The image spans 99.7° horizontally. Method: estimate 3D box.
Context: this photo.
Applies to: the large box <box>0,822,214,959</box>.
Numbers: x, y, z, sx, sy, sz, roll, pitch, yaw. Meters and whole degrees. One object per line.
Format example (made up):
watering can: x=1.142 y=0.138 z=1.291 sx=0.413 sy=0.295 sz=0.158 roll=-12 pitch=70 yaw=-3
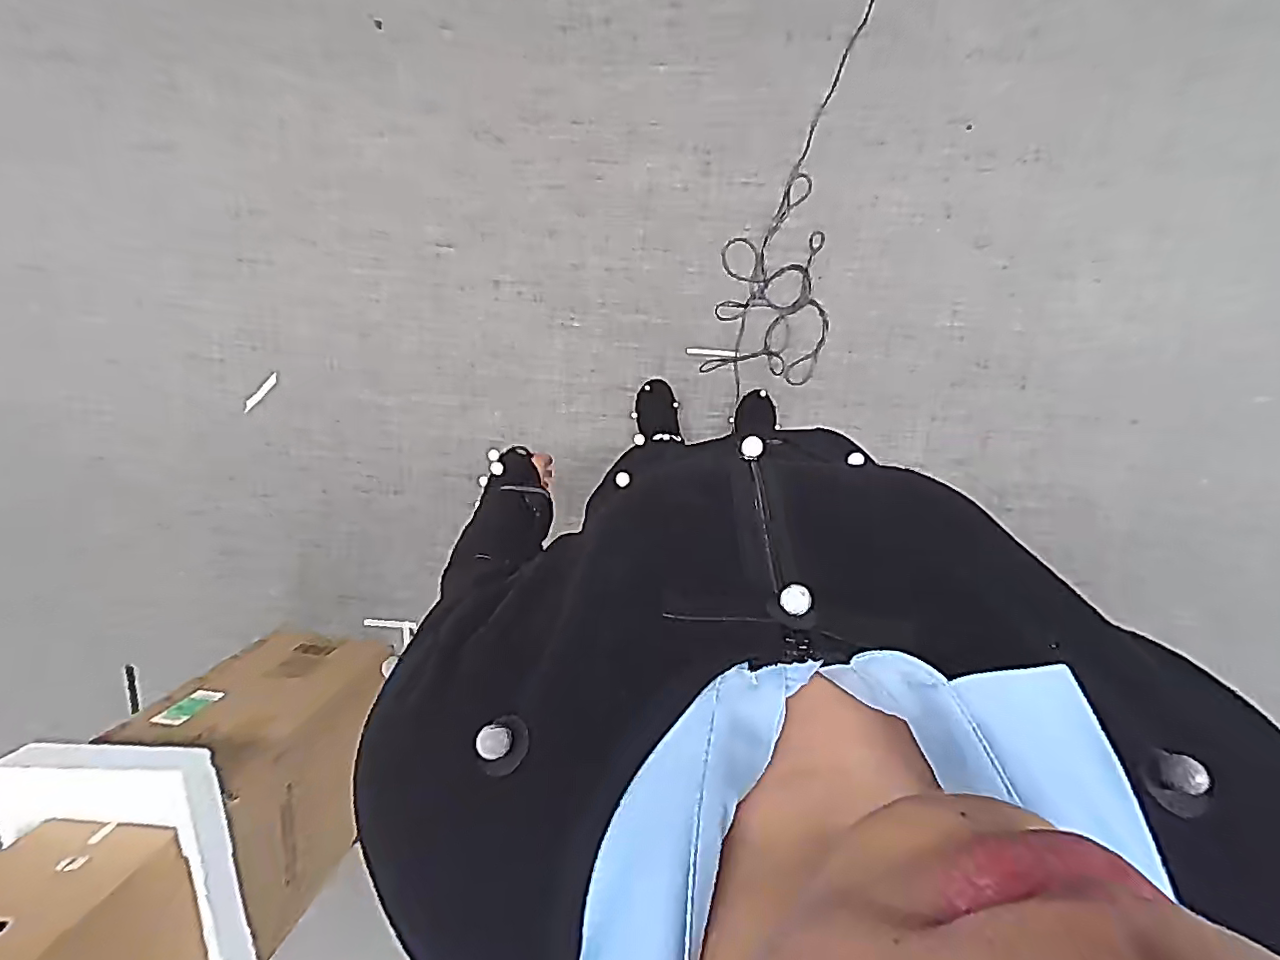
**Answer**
large box: x=-1.063 y=0.911 z=0.980 sx=0.320 sy=0.320 sz=0.408 roll=1 pitch=102 yaw=7
